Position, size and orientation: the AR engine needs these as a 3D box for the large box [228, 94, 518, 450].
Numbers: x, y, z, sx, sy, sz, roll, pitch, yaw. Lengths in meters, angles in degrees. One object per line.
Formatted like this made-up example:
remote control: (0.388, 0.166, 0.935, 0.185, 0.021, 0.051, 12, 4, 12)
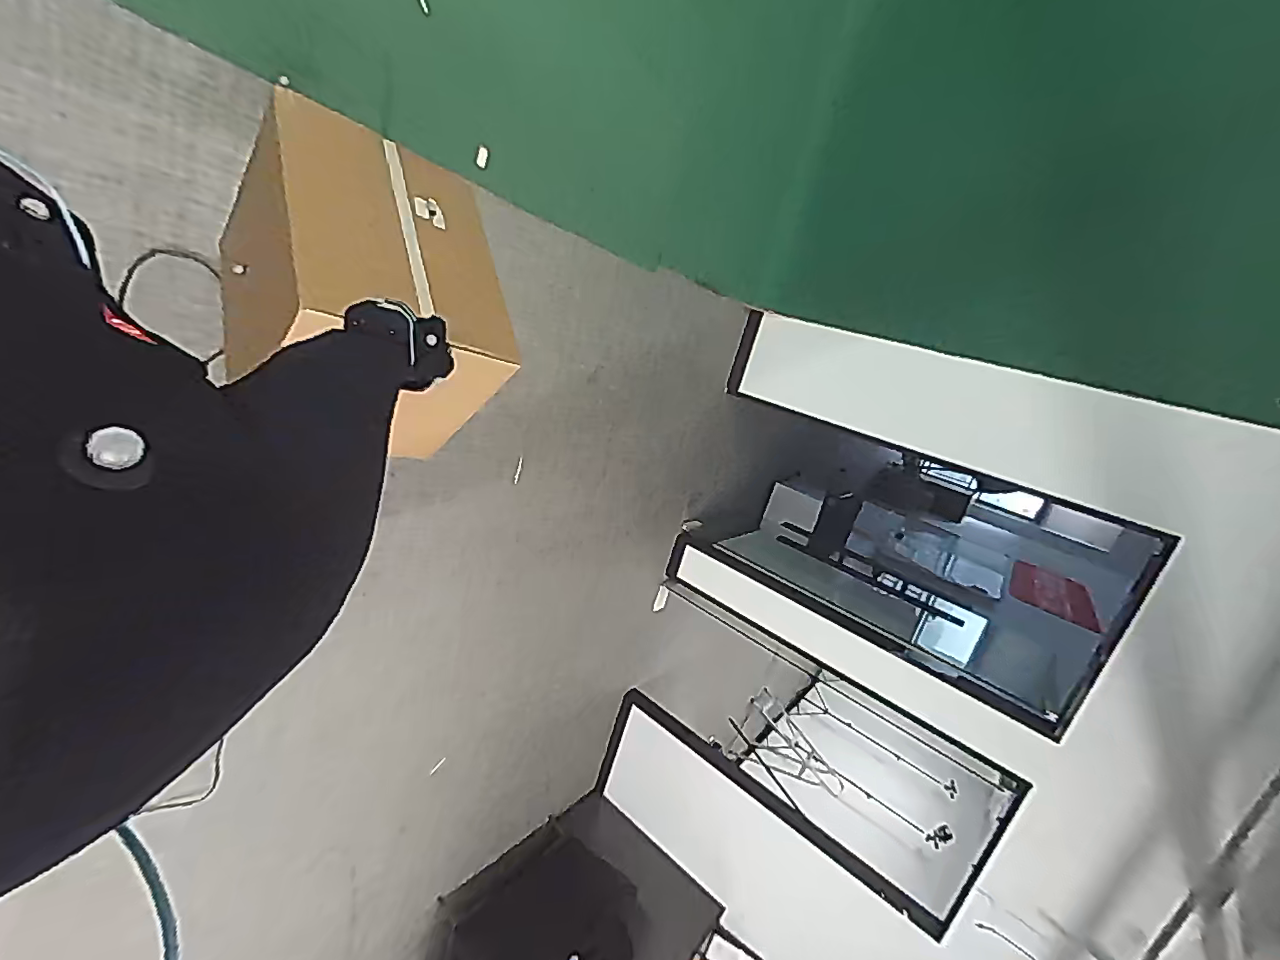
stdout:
large box: (-0.456, -0.299, 0.899, 0.320, 0.408, 0.320, -34, 156, 34)
